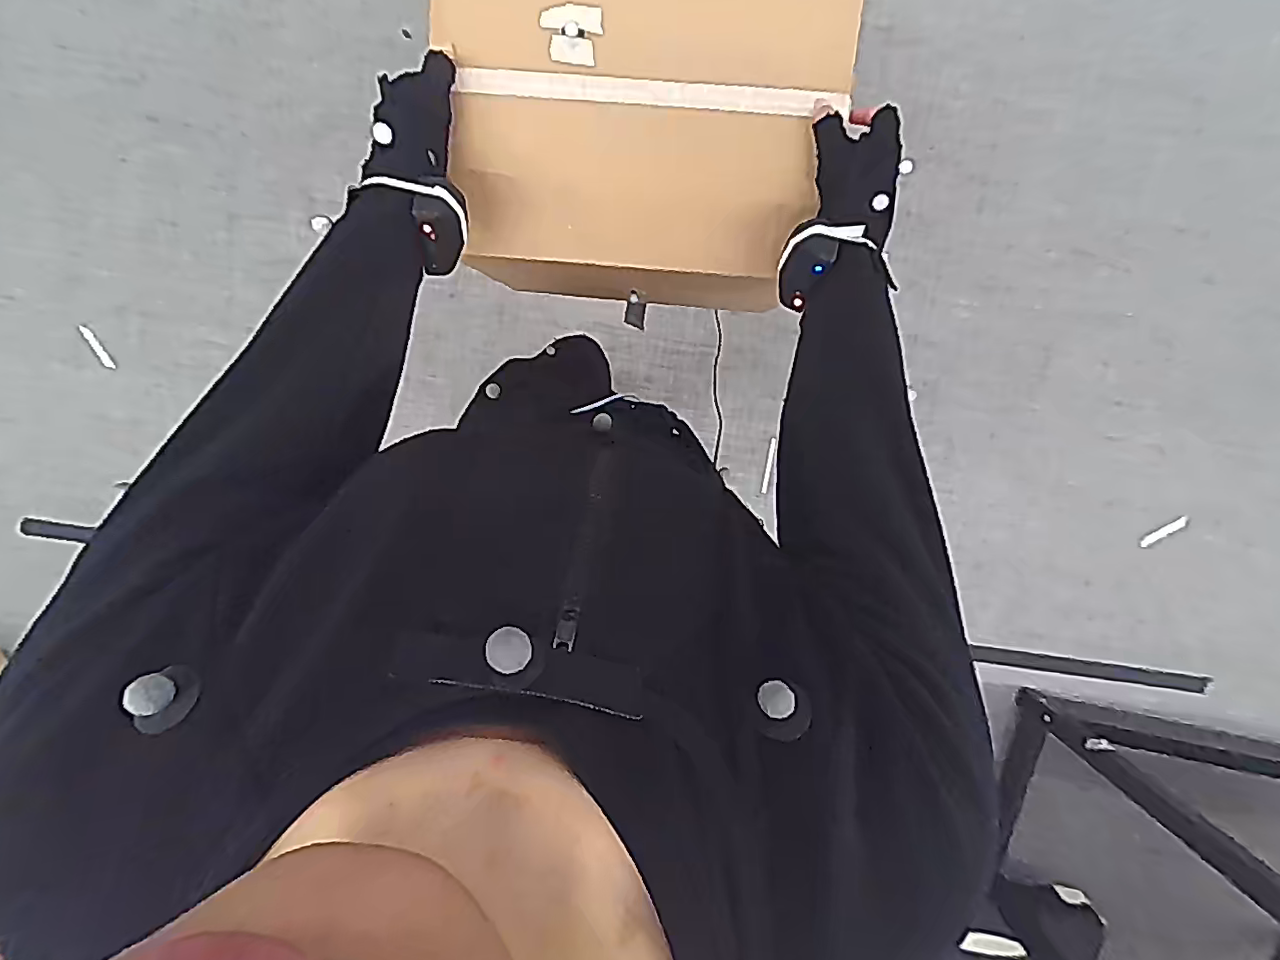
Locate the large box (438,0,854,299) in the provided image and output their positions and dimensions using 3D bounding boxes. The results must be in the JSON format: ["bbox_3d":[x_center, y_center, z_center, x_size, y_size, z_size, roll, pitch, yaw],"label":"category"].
[{"bbox_3d":[0.006,-0.411,0.676,0.408,0.320,0.320,5,101,2],"label":"large box"}]
